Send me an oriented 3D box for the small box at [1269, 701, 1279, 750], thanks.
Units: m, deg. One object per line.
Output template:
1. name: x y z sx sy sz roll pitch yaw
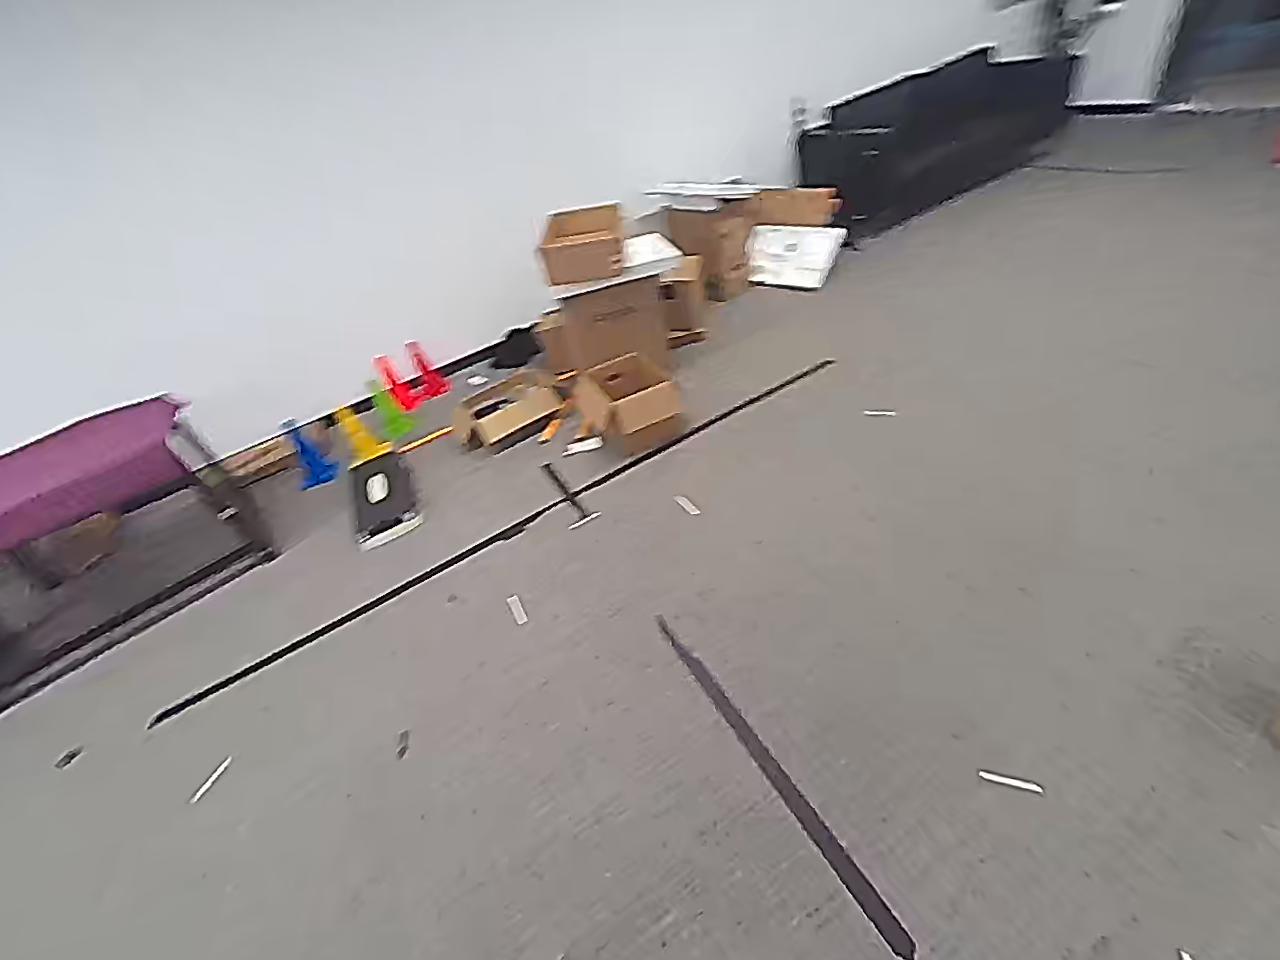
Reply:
1. small box: 1.538 0.528 1.176 0.179 0.176 0.168 -37 42 -25
